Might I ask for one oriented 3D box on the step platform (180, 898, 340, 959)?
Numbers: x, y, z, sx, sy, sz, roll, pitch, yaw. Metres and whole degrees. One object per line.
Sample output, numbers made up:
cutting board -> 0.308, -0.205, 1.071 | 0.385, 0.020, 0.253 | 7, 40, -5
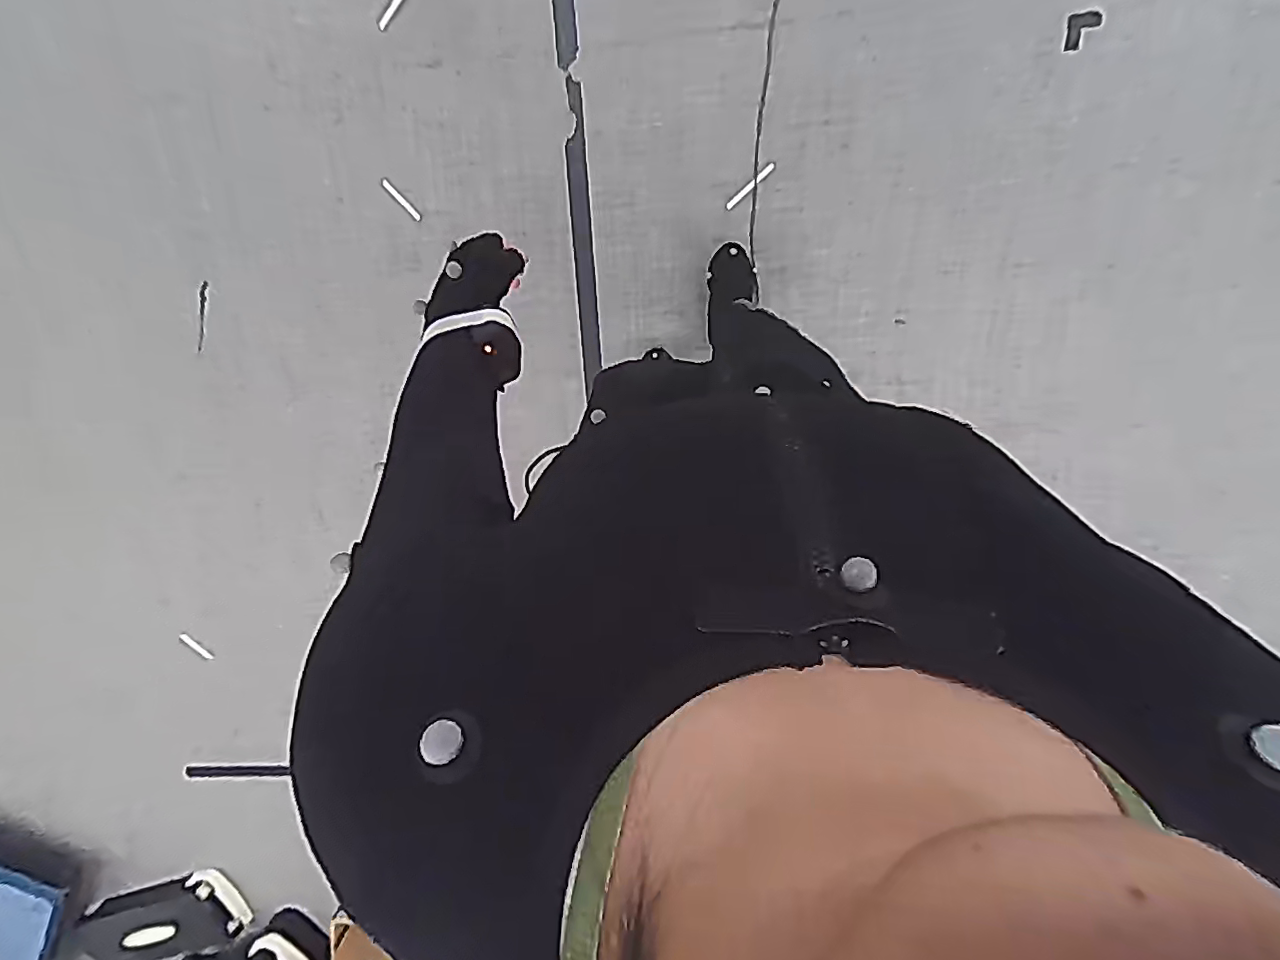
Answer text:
step platform -> -1.566, 1.948, 2.155 | 0.684, 0.204, 0.286 | -31, 104, 11
